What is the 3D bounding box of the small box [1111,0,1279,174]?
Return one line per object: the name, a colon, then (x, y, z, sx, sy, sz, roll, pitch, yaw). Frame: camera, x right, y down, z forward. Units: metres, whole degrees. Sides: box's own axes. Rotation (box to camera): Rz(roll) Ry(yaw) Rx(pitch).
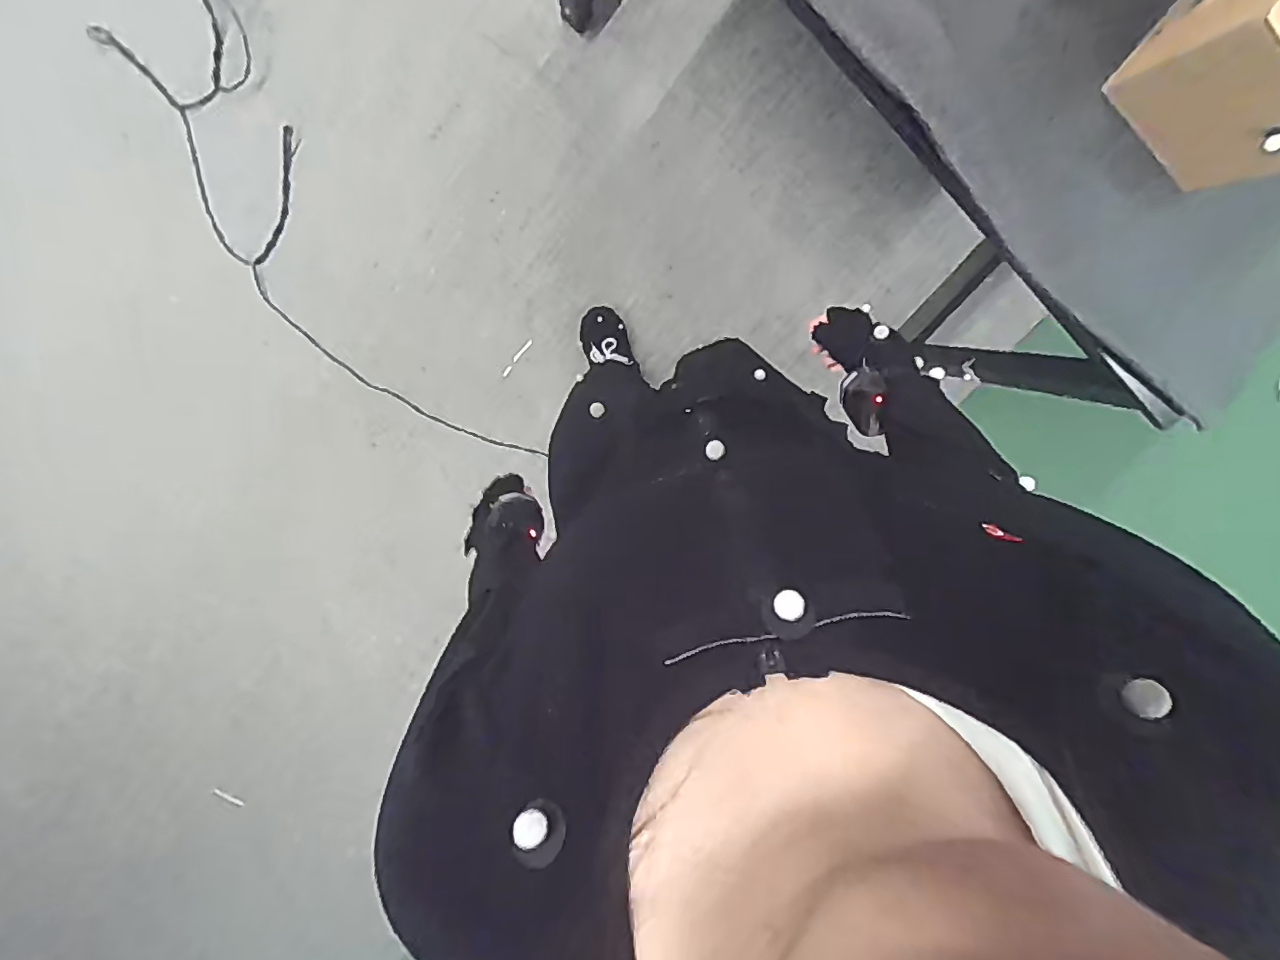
small box: (0.659, -0.448, 0.553, 0.179, 0.176, 0.168, 36, 102, -12)
